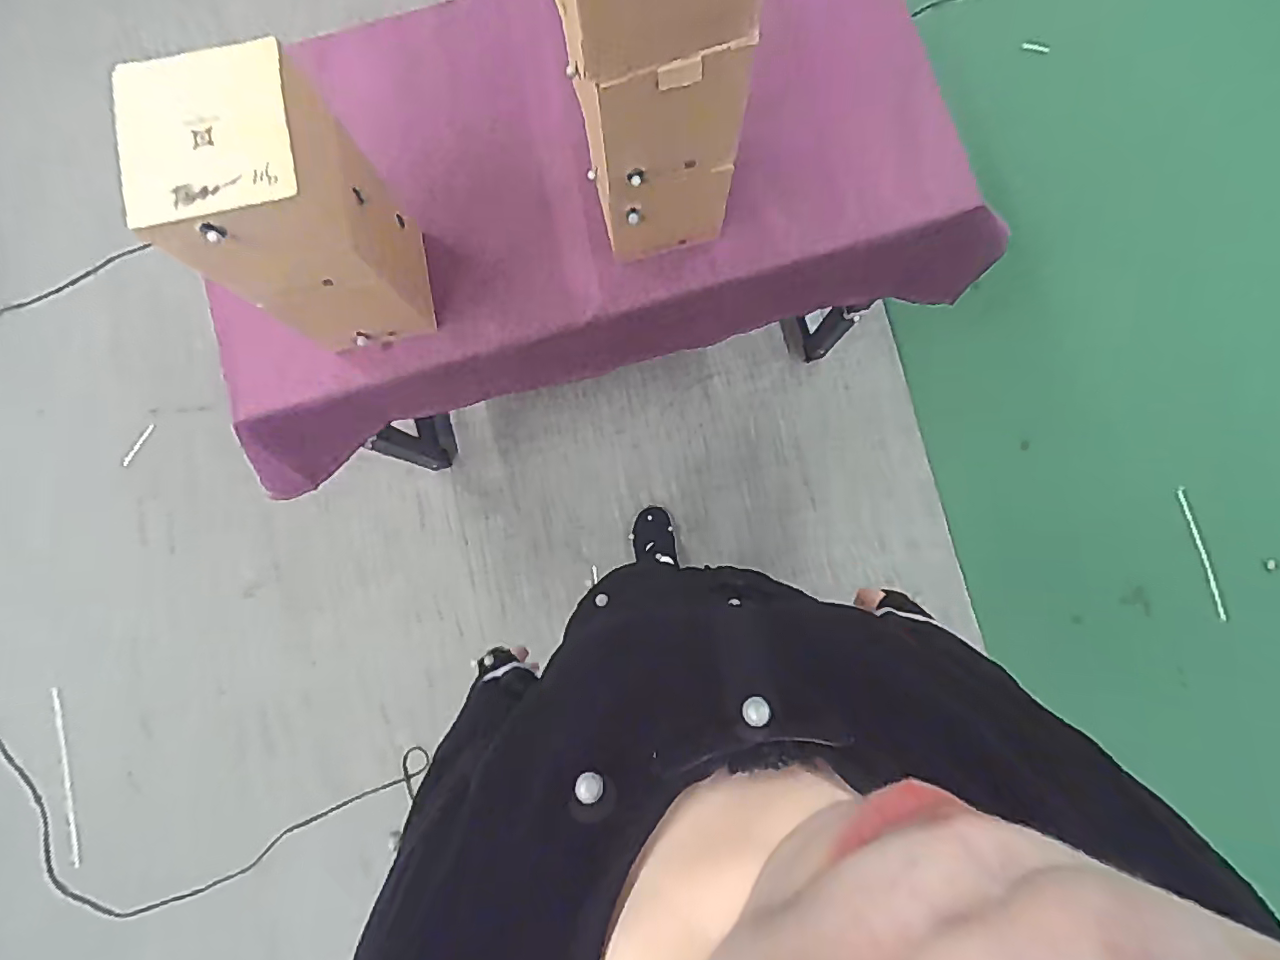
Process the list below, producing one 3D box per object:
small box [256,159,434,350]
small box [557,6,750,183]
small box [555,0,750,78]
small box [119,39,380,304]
[{"bbox_3d":[-0.412,-0.307,0.766,0.168,0.176,0.179,-11,84,0],"label":"small box"},{"bbox_3d":[0.010,-0.470,0.609,0.168,0.176,0.179,-17,82,-1],"label":"small box"},{"bbox_3d":[0.002,-0.491,0.448,0.179,0.176,0.168,-18,83,0],"label":"small box"},{"bbox_3d":[-0.417,-0.326,0.602,0.168,0.176,0.179,-12,82,1],"label":"small box"}]
